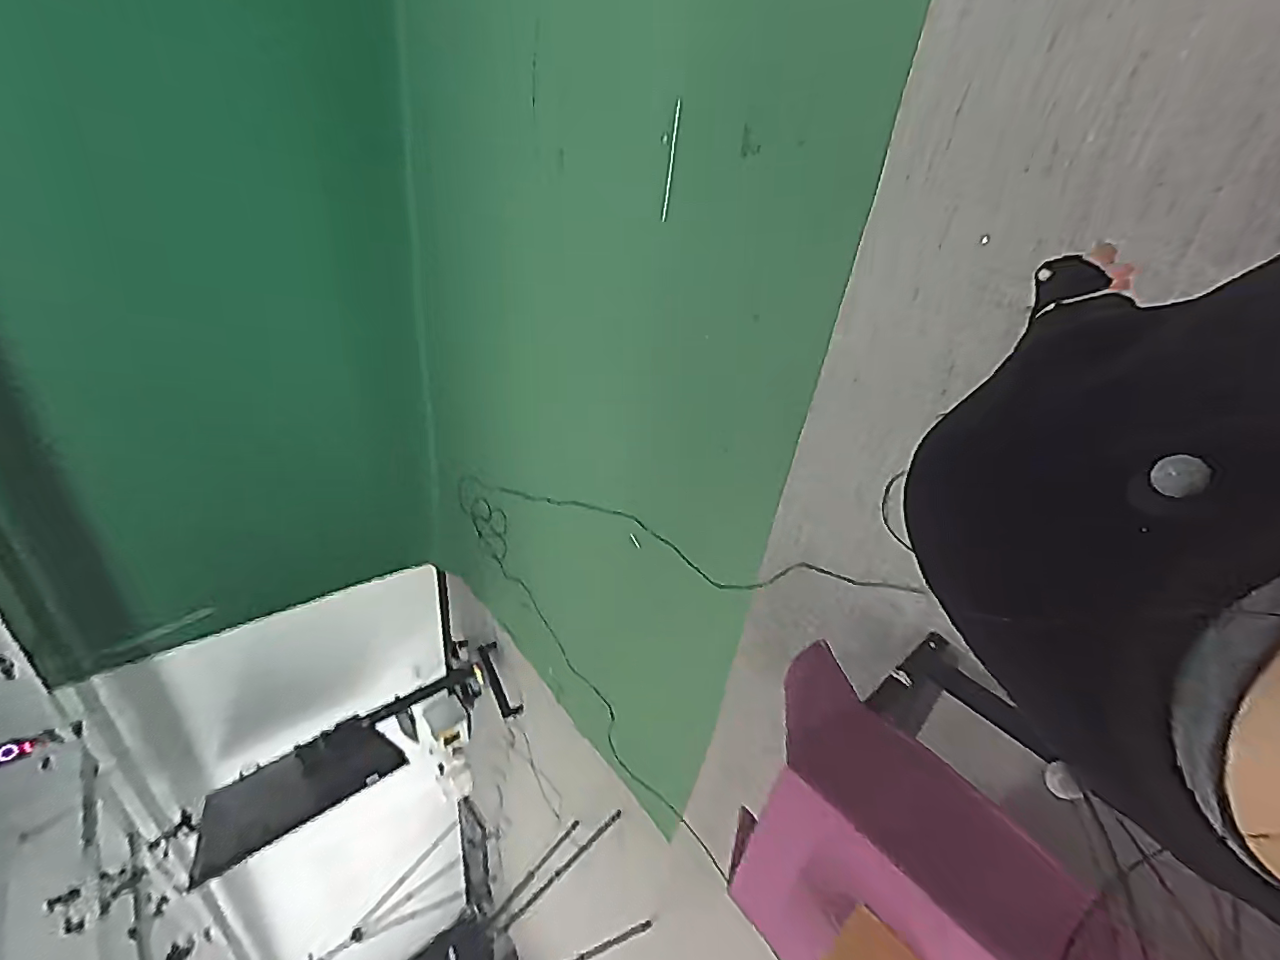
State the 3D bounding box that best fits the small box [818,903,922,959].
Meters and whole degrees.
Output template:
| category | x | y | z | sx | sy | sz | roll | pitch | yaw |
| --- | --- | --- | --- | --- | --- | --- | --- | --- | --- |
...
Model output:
| category | x | y | z | sx | sy | sz | roll | pitch | yaw |
| --- | --- | --- | --- | --- | --- | --- | --- | --- | --- |
| small box | 0.442 | 0.977 | 1.036 | 0.179 | 0.176 | 0.168 | 37 | 130 | 37 |
